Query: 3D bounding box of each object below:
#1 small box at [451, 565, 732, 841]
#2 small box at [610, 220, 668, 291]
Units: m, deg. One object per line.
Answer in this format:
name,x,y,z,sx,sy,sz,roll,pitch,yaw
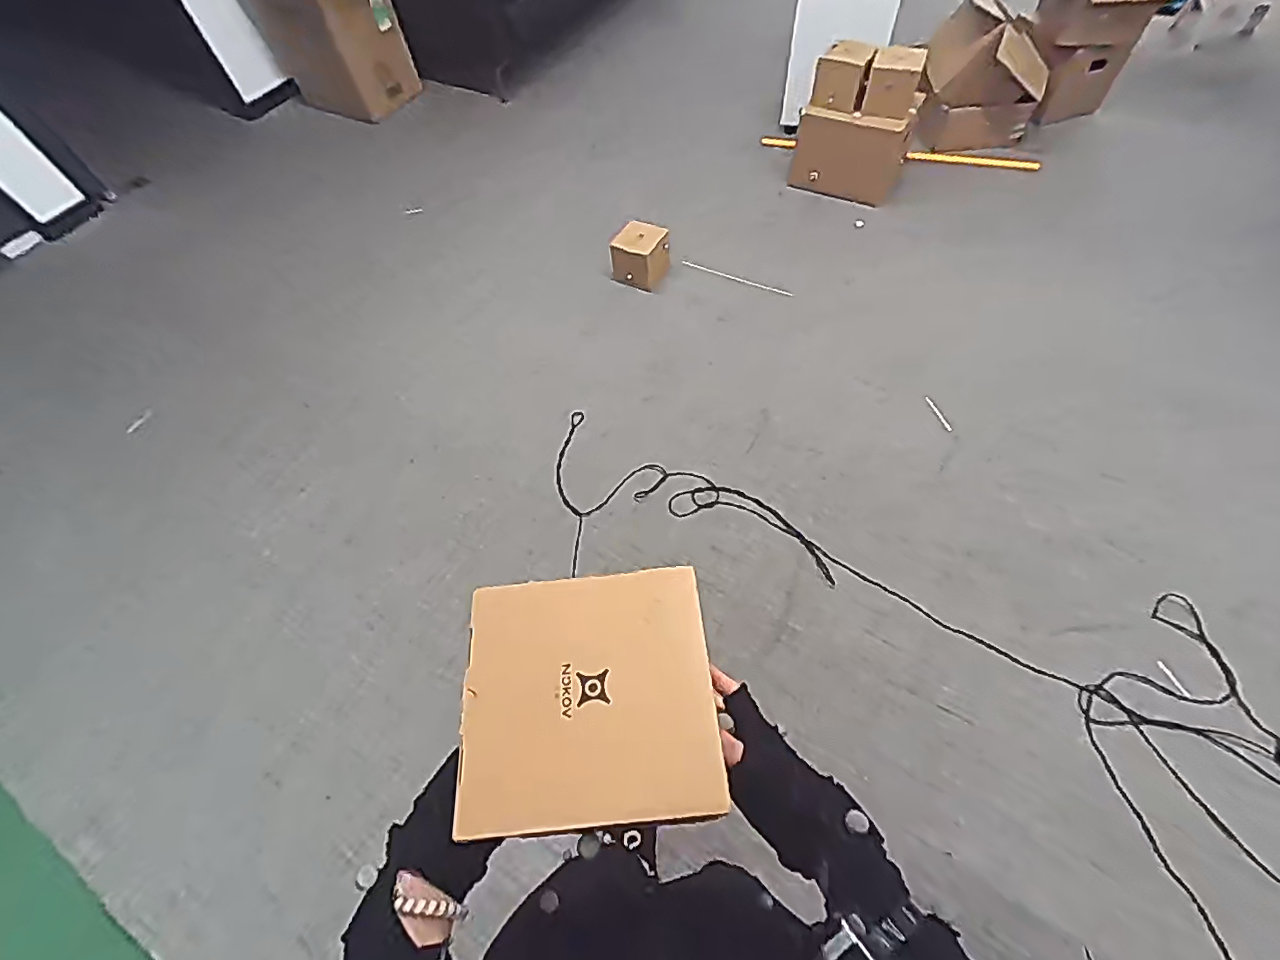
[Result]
small box,-0.030,0.183,0.437,0.179,0.176,0.168,-7,58,2
small box,0.001,-0.876,2.117,0.168,0.176,0.179,24,64,18
